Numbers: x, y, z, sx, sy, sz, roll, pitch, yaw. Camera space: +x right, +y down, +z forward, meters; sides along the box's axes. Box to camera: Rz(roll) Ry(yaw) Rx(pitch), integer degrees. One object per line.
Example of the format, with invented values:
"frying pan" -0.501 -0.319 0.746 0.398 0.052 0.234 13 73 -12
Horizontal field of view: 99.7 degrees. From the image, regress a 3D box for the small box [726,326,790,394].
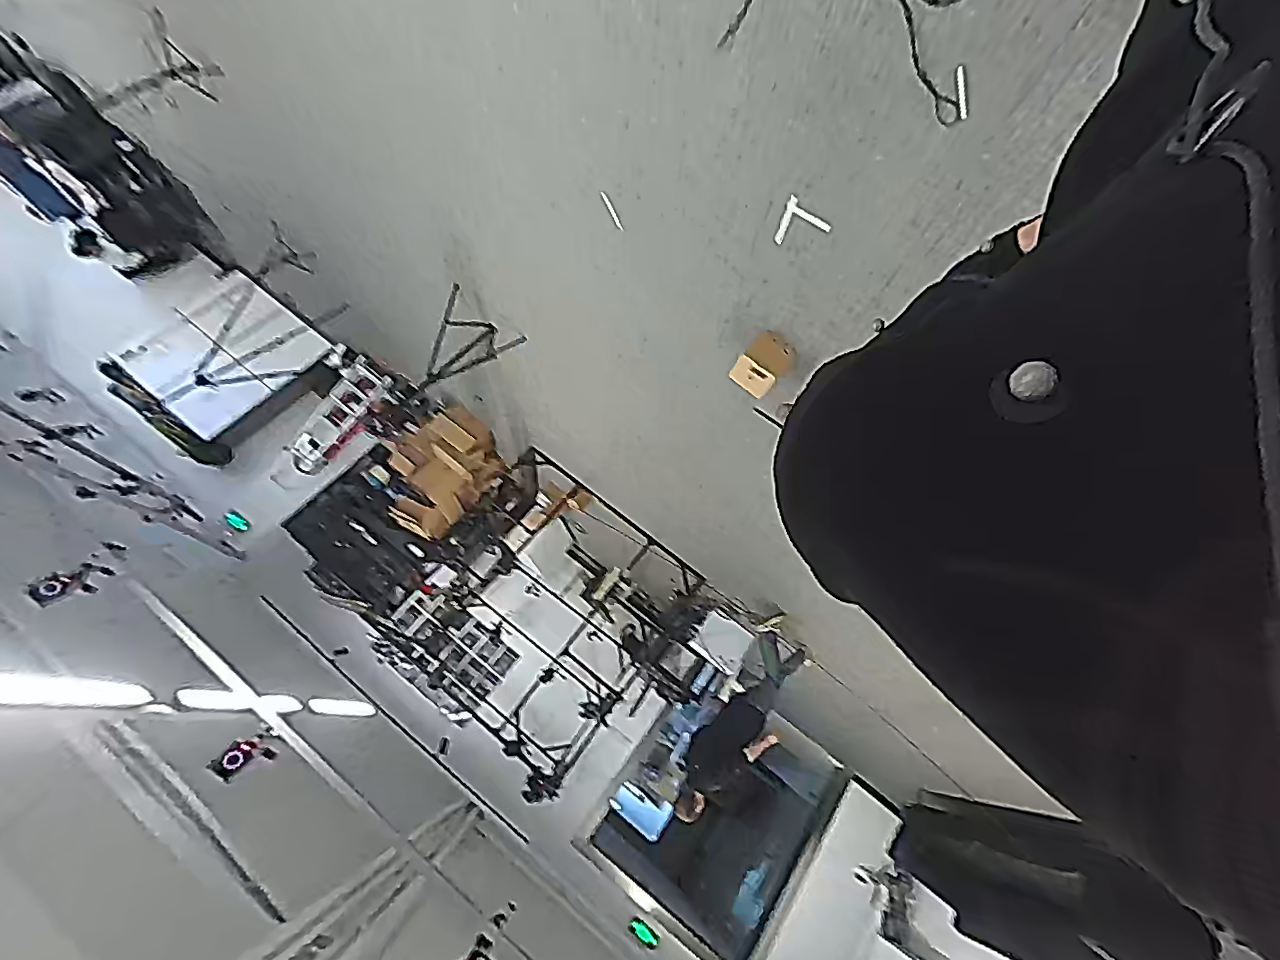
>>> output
"small box" 0.486 -0.491 2.203 0.168 0.176 0.179 39 158 5
